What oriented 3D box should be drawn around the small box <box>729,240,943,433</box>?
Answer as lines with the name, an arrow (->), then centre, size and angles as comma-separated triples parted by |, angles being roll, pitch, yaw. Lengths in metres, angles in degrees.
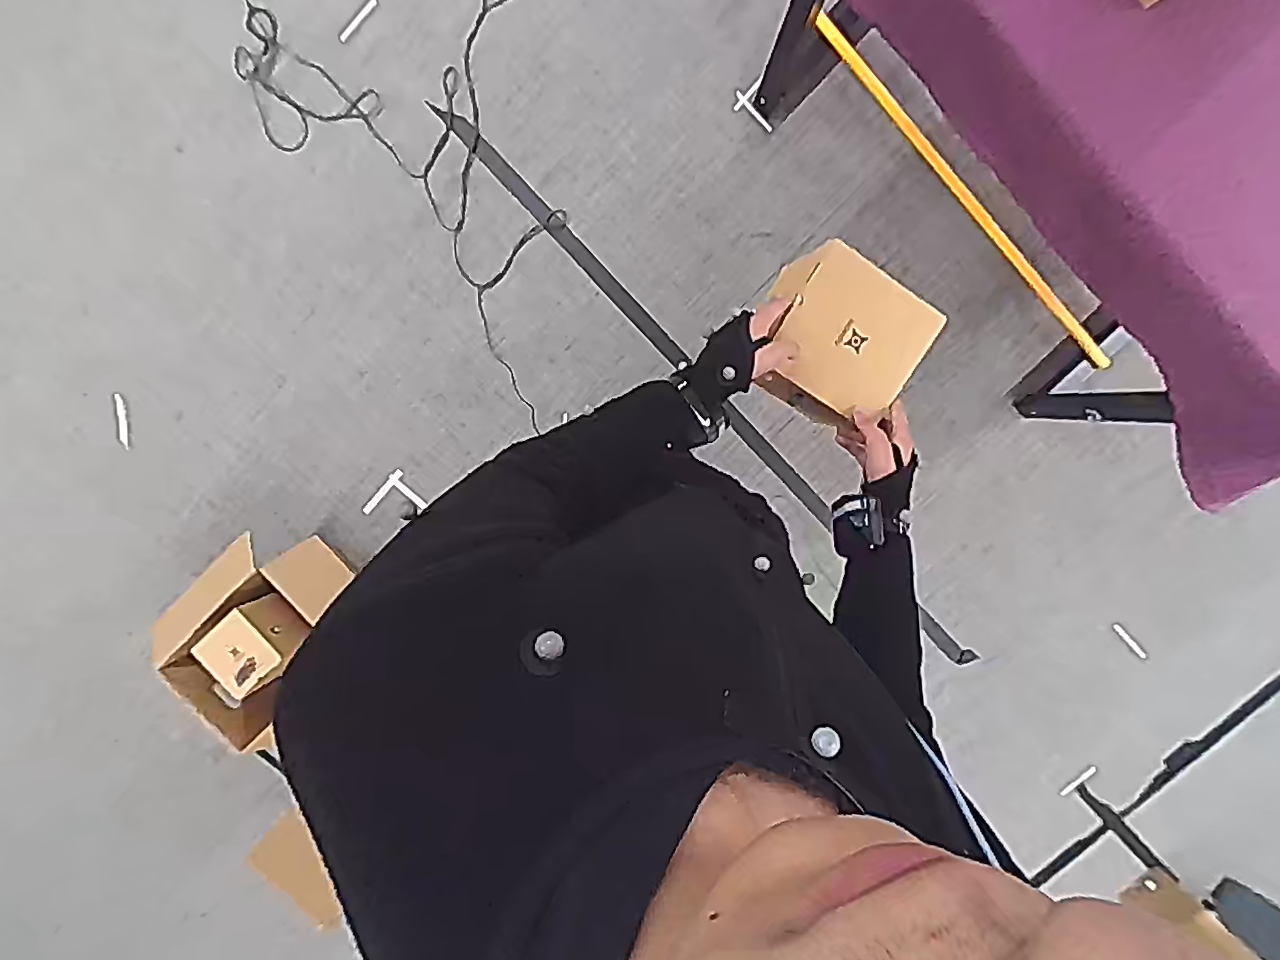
small box -> 0.246, -0.185, 0.725 | 0.179, 0.176, 0.168 | 30, 98, -8
